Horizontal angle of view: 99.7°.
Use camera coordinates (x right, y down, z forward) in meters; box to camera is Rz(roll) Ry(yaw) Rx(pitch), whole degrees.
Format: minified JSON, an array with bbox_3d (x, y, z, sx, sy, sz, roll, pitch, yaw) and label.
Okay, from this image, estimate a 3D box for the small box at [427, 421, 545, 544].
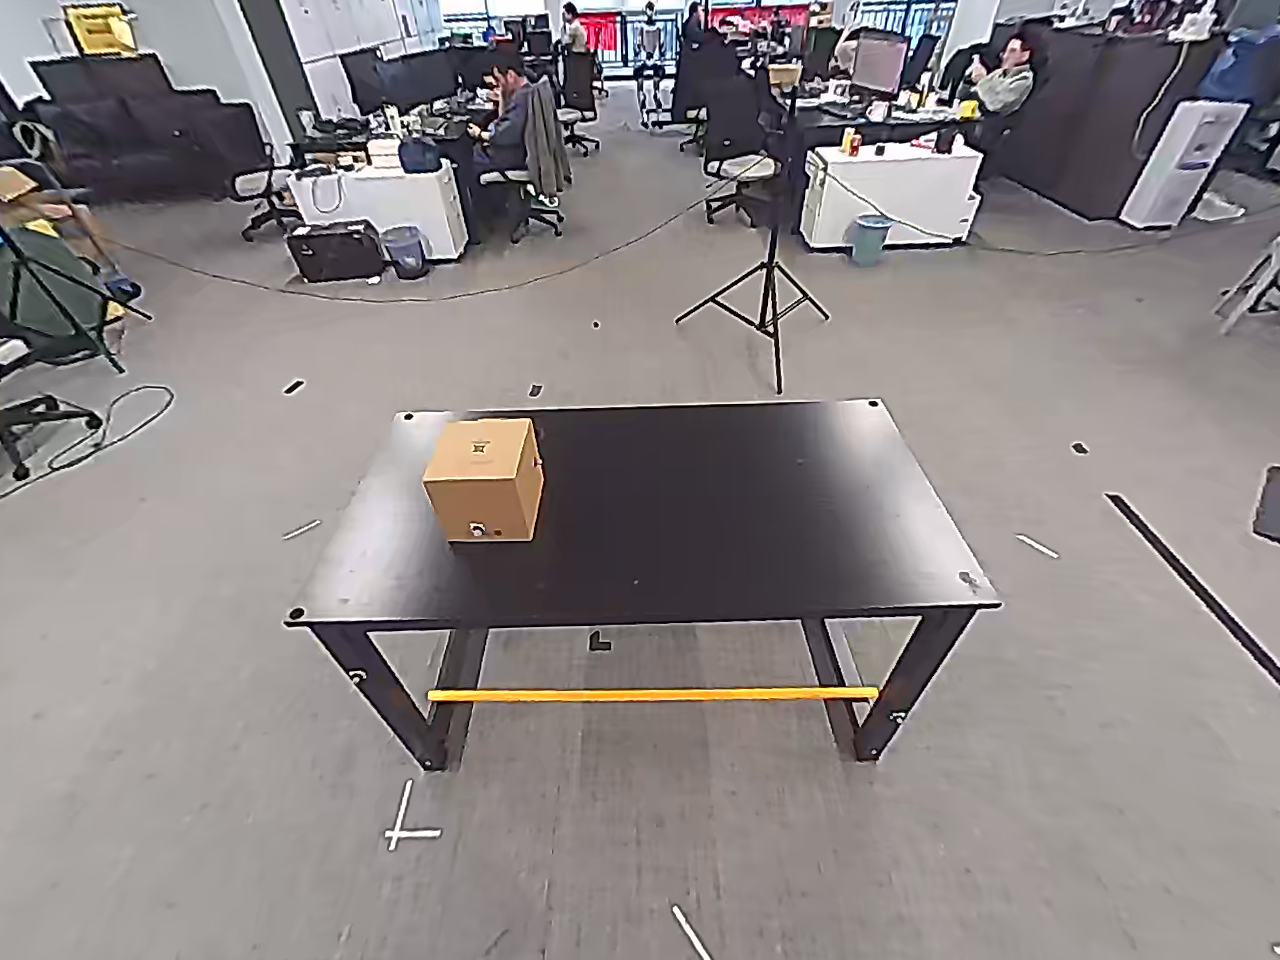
[{"bbox_3d":[-0.284,0.005,1.043,0.168,0.176,0.179,-2,43,2],"label":"small box"}]
